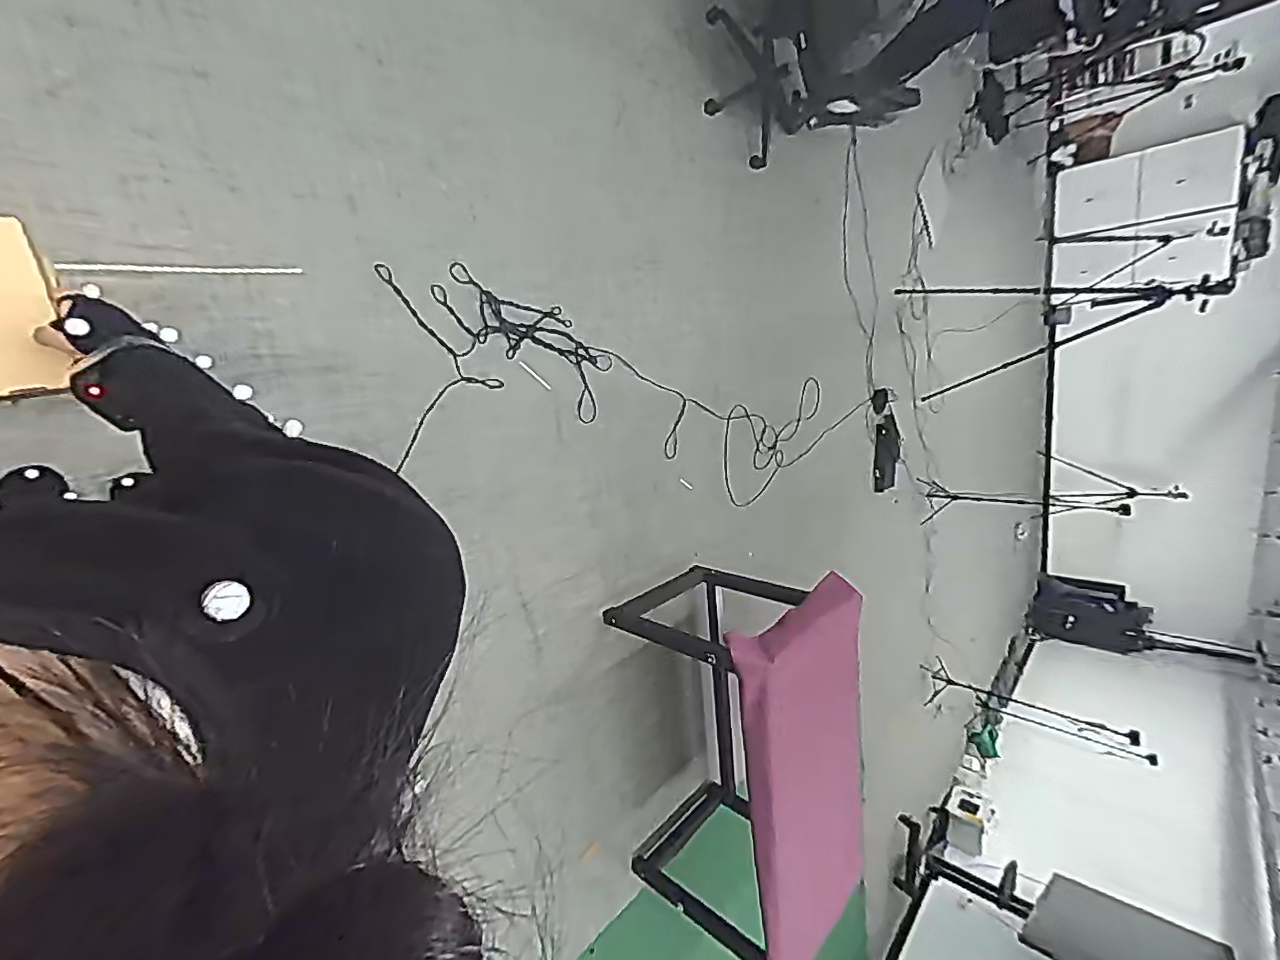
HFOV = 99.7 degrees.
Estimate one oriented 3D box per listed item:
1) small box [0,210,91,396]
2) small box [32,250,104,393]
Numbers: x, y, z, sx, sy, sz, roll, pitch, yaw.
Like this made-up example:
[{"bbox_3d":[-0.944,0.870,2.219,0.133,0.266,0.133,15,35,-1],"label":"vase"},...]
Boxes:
[{"bbox_3d":[-0.736,-0.180,0.582,0.168,0.176,0.179,-21,110,-40],"label":"small box"},{"bbox_3d":[-0.845,-0.198,0.702,0.179,0.176,0.168,-22,110,-41],"label":"small box"}]
